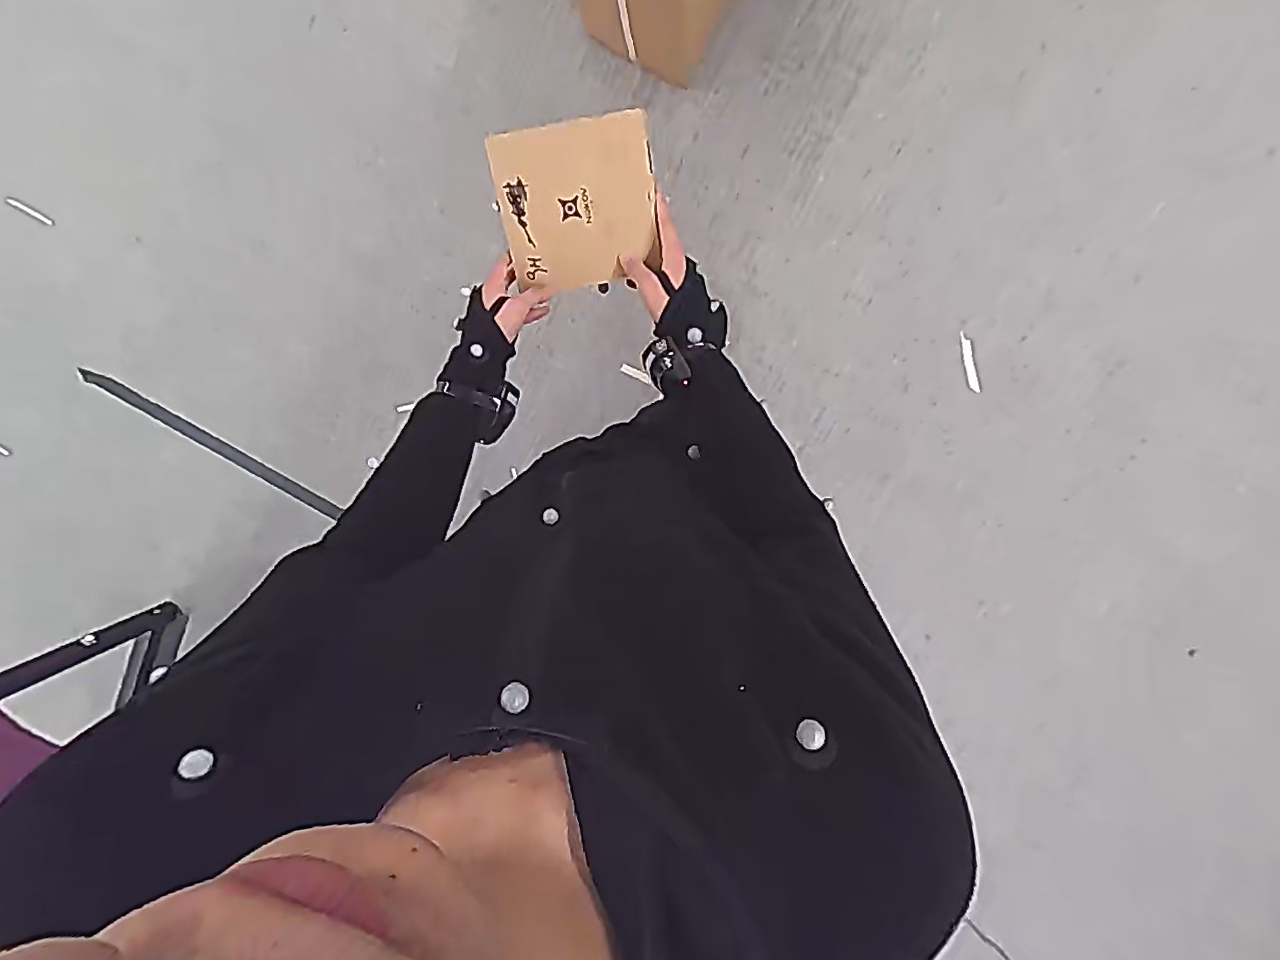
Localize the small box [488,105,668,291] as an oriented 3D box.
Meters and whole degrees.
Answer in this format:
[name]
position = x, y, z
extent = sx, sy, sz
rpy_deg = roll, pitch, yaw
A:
[small box]
position = -0.065, -0.337, 0.668
extent = 0.179, 0.176, 0.168
rpy_deg = -8, 113, 5
